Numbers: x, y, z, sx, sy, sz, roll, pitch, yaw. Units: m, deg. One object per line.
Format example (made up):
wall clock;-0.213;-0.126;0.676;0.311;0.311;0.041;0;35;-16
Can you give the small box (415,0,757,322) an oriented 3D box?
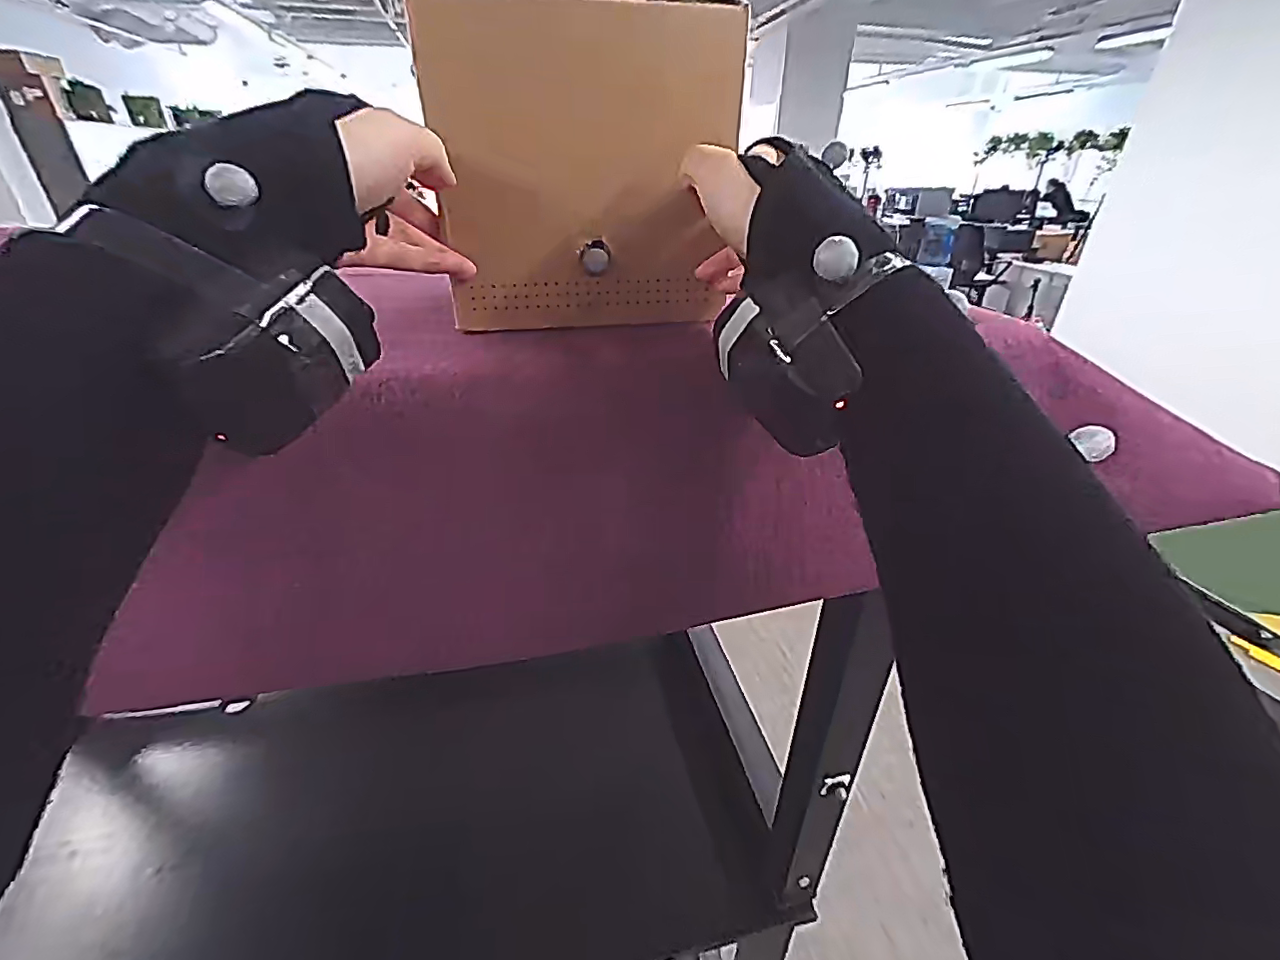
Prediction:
small box;-0.039;-0.212;0.375;0.179;0.176;0.168;-5;29;-10
